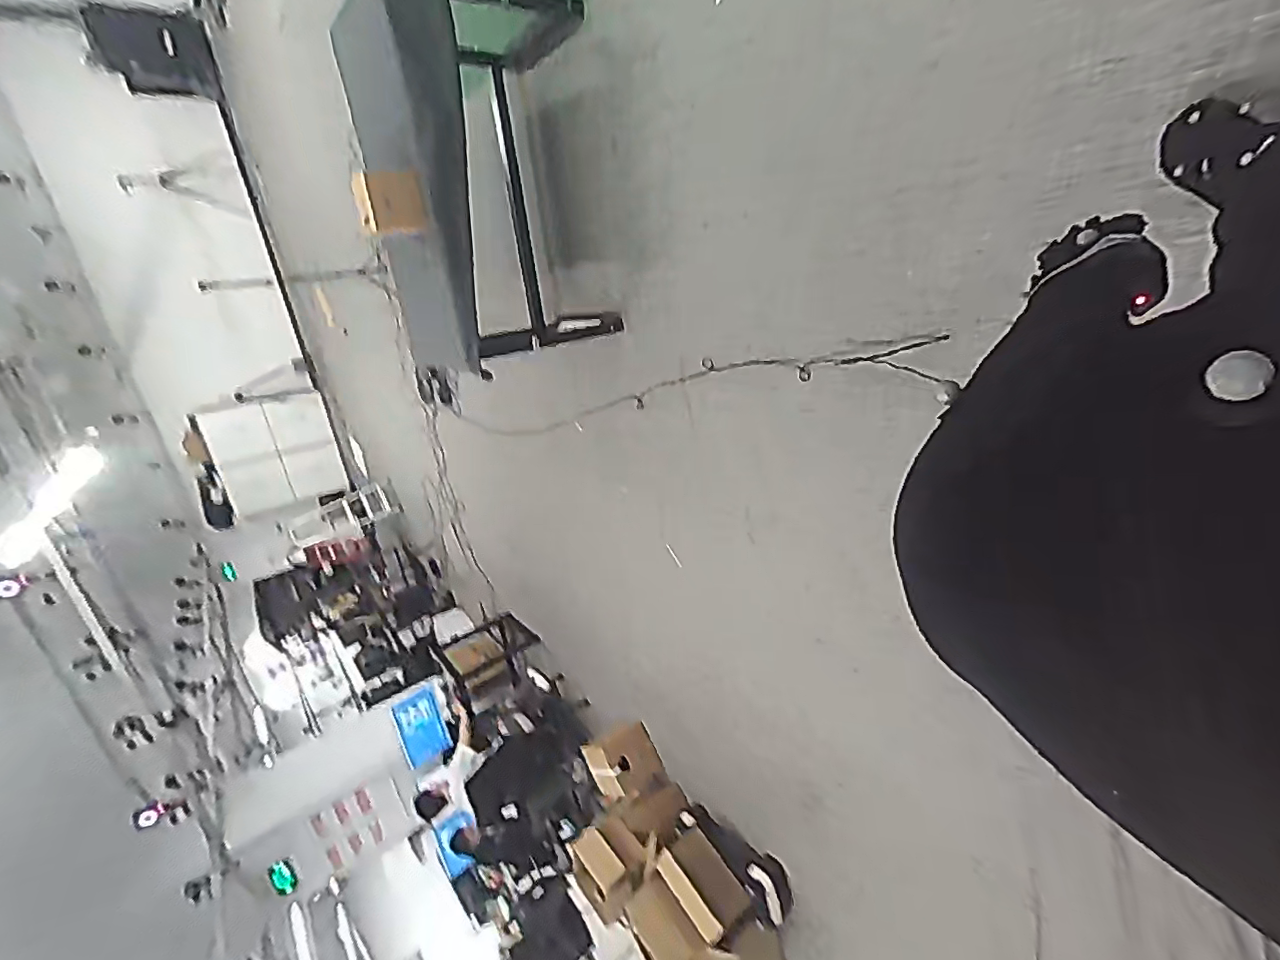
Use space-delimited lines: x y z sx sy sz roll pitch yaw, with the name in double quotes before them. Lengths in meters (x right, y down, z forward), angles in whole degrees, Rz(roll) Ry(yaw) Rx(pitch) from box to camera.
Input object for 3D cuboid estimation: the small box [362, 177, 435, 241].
"small box" -0.814 -0.918 1.834 0.168 0.176 0.179 19 122 48
